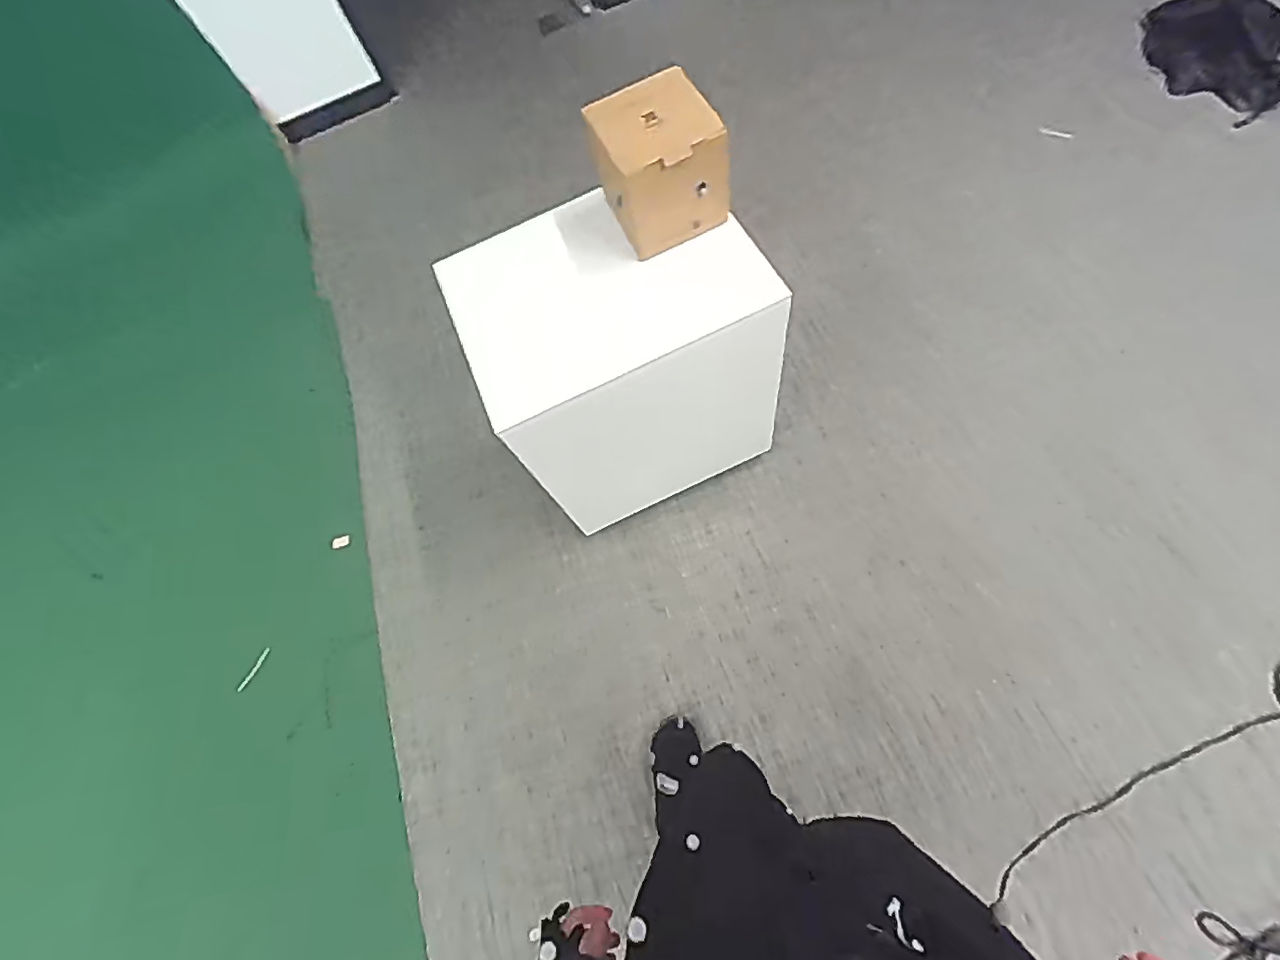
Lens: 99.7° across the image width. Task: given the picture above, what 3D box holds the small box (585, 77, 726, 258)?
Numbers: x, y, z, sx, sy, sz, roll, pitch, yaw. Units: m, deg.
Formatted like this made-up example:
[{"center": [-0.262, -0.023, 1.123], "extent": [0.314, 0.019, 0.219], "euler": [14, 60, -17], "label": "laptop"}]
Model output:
[{"center": [0.033, -0.490, 0.874], "extent": [0.168, 0.176, 0.179], "euler": [-25, 65, -1], "label": "small box"}]
